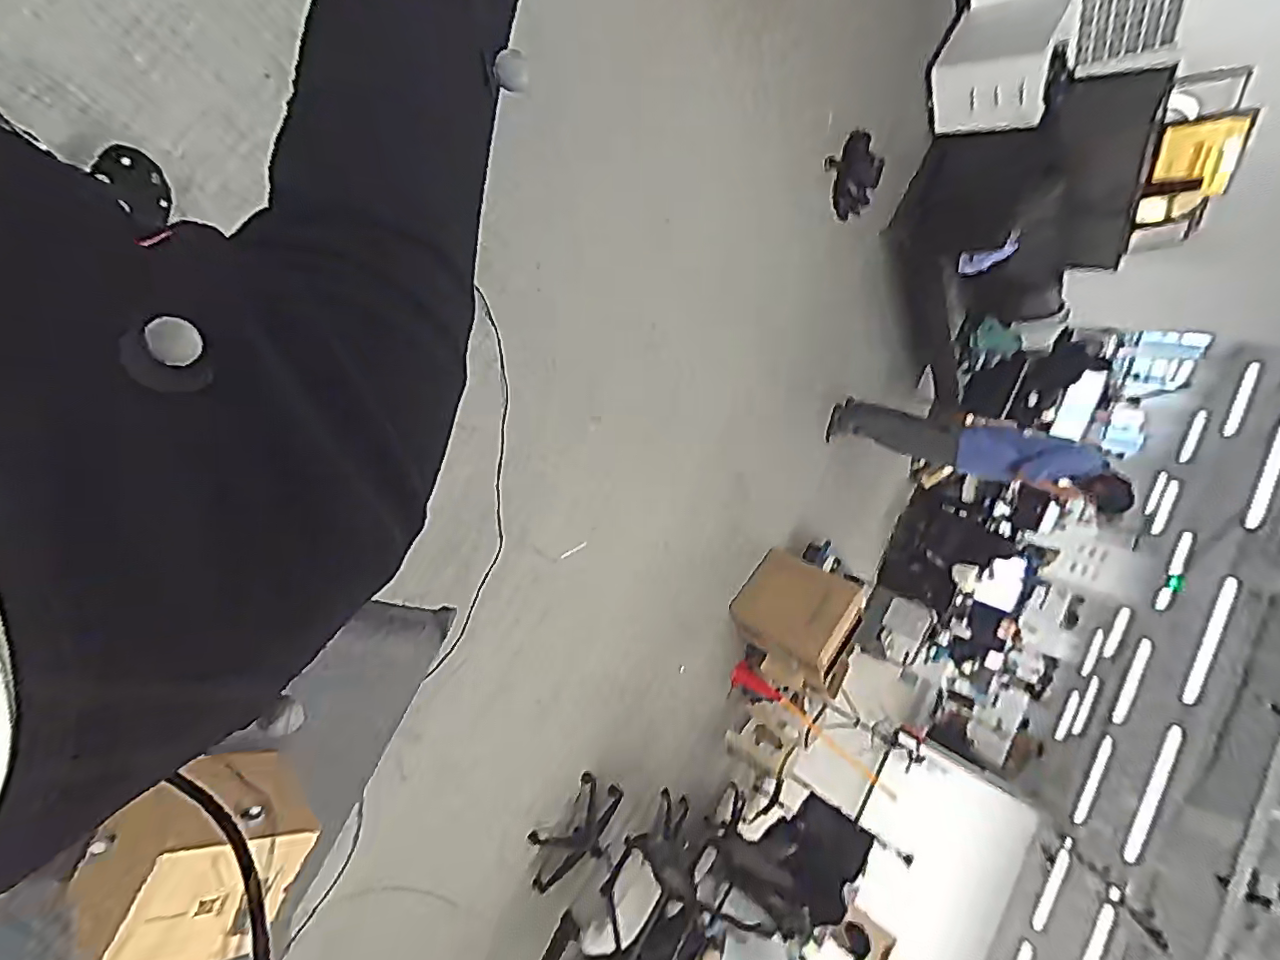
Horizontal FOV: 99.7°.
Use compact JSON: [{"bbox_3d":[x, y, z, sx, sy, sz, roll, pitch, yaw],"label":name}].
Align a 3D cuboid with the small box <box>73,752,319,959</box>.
[{"bbox_3d":[-0.559,0.470,0.685,0.179,0.176,0.168,33,82,-51],"label":"small box"}]
